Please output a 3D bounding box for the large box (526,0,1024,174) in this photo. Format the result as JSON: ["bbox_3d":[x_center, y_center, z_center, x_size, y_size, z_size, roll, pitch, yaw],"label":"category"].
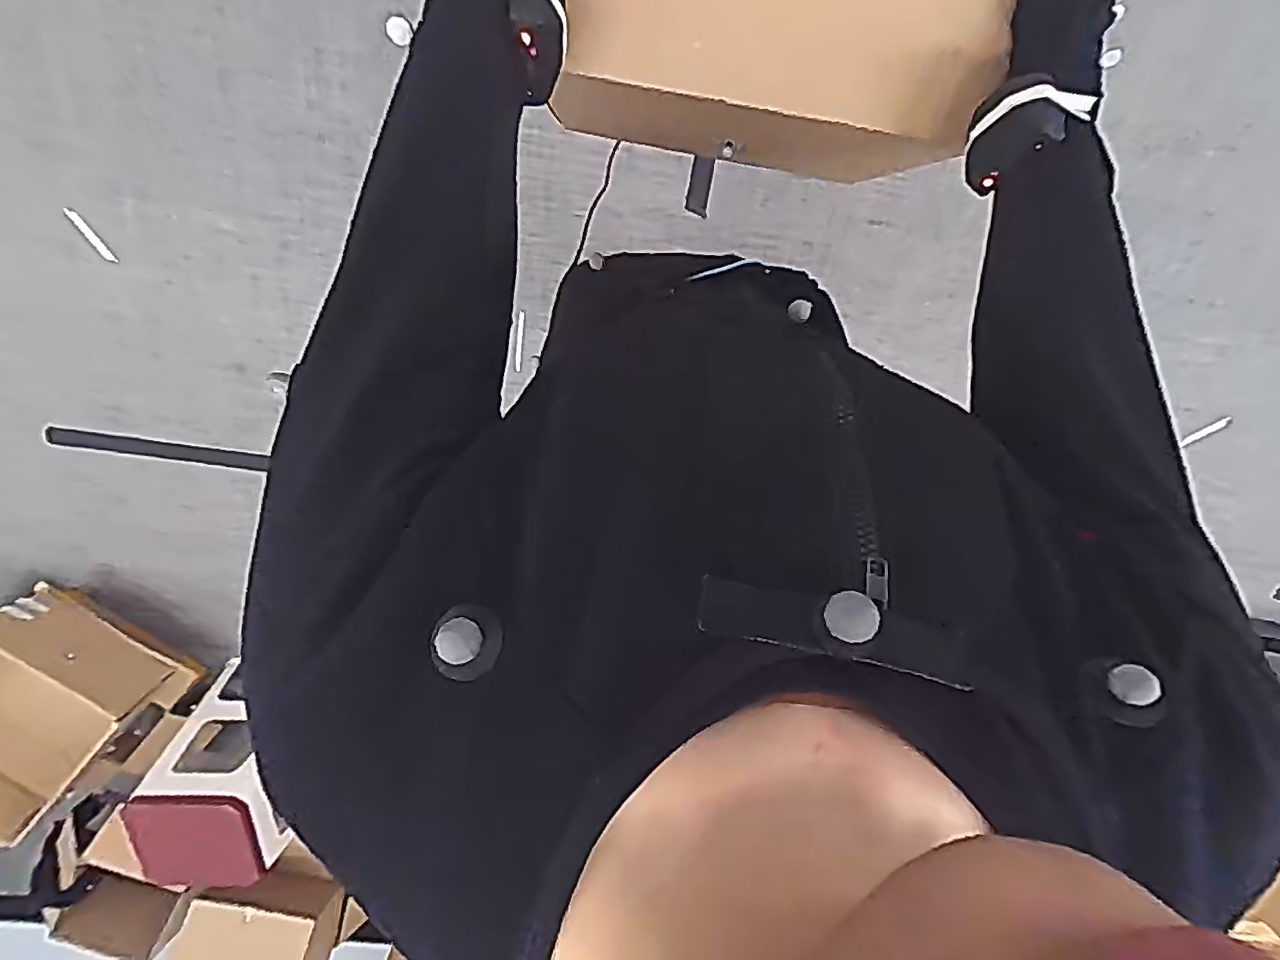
[{"bbox_3d":[0.125,-0.521,0.538,0.408,0.320,0.320,9,113,-4],"label":"large box"}]
